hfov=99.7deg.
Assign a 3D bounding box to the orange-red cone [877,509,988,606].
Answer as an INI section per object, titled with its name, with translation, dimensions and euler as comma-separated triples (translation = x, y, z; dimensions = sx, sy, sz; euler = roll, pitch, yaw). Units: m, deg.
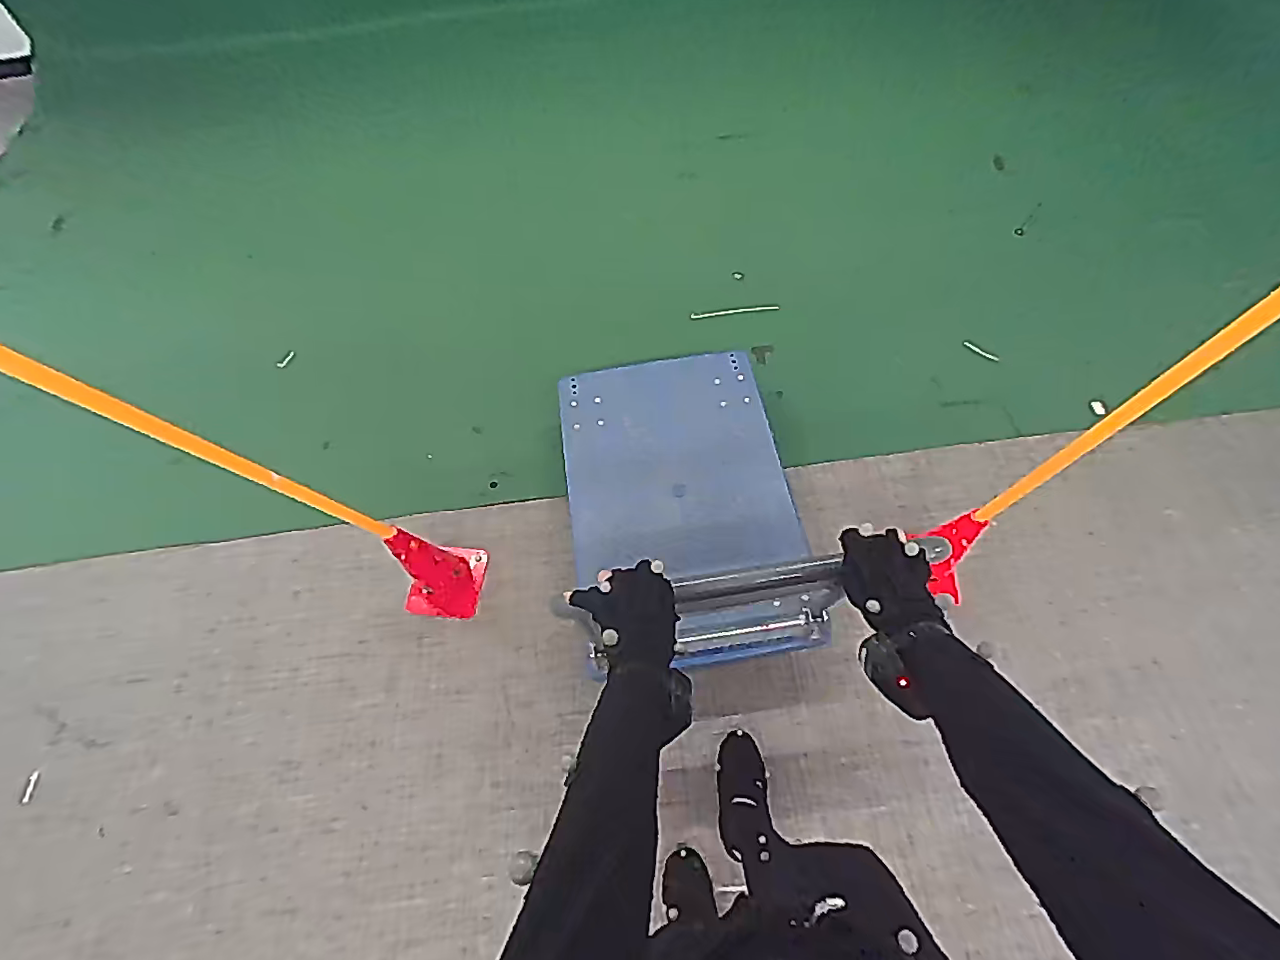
[orange-red cone]
translation = 0.741, 0.162, 1.313
dimensions = 0.198, 0.360, 0.199
euler = 3, 63, 6
